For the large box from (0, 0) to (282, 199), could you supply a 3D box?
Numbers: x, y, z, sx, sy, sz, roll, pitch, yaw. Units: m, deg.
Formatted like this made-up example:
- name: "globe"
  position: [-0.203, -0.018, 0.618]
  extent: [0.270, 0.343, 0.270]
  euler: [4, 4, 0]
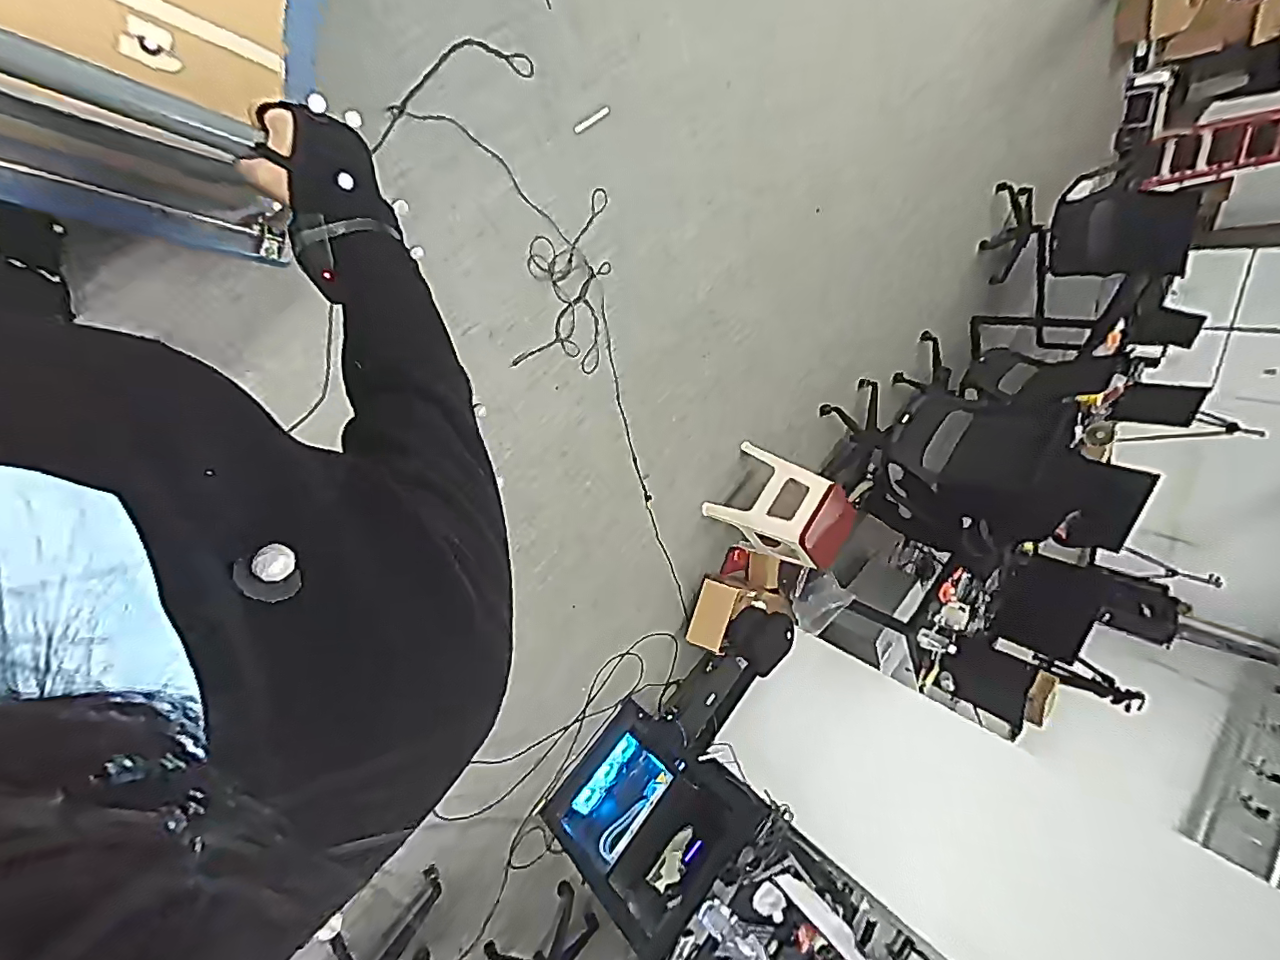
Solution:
- name: "large box"
  position: [-0.756, -0.627, 0.732]
  extent: [0.408, 0.320, 0.320]
  euler: [2, 104, -44]
